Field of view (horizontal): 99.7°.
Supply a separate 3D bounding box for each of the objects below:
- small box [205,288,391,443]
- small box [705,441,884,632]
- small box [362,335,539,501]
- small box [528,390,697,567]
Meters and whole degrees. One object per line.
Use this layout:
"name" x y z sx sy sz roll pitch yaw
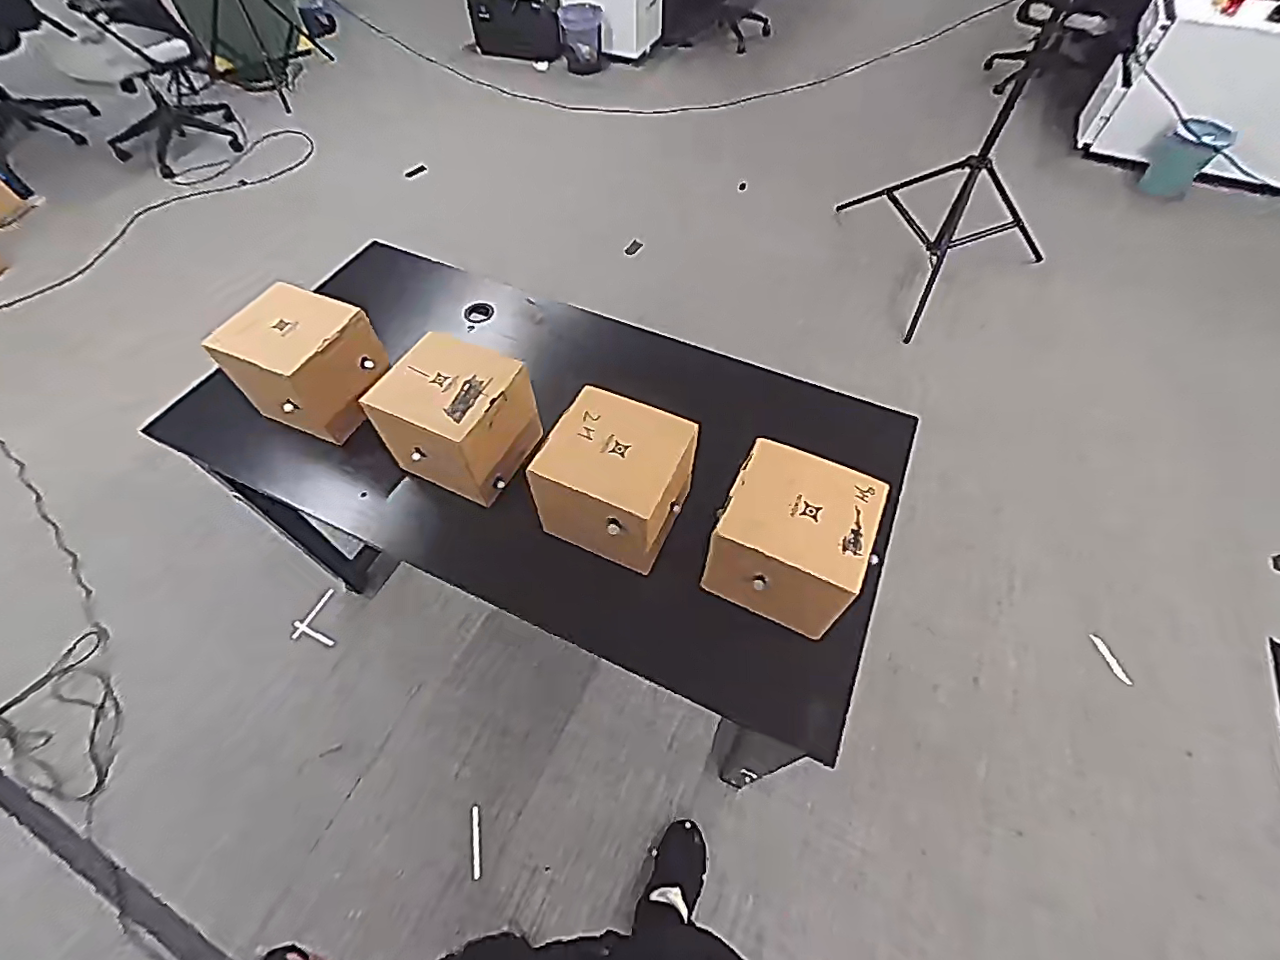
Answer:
"small box" -0.550 -0.186 0.907 0.179 0.176 0.168 19 58 12
"small box" 0.198 0.082 0.730 0.179 0.176 0.168 21 59 15
"small box" -0.279 -0.089 0.843 0.179 0.176 0.168 21 59 15
"small box" -0.033 0.005 0.780 0.179 0.176 0.168 21 58 13
